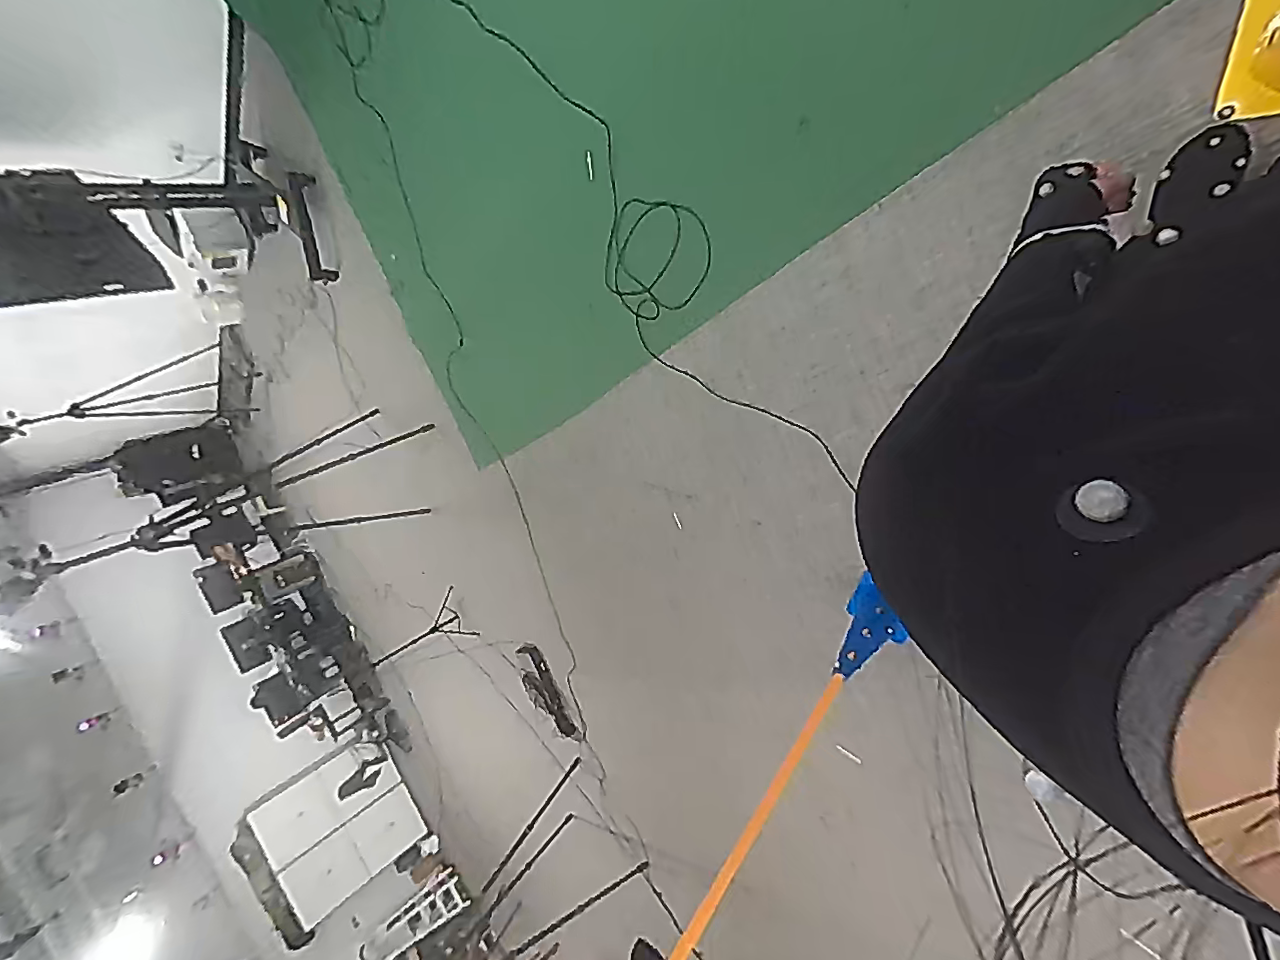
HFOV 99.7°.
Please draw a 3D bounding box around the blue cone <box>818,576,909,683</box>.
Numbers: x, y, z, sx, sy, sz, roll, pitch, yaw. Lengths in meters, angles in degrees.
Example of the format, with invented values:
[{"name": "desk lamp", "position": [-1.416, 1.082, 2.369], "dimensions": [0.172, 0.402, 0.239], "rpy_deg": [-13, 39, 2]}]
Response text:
[{"name": "blue cone", "position": [0.635, 0.476, 1.609], "dimensions": [0.192, 0.380, 0.193], "rpy_deg": [30, 132, 29]}]
